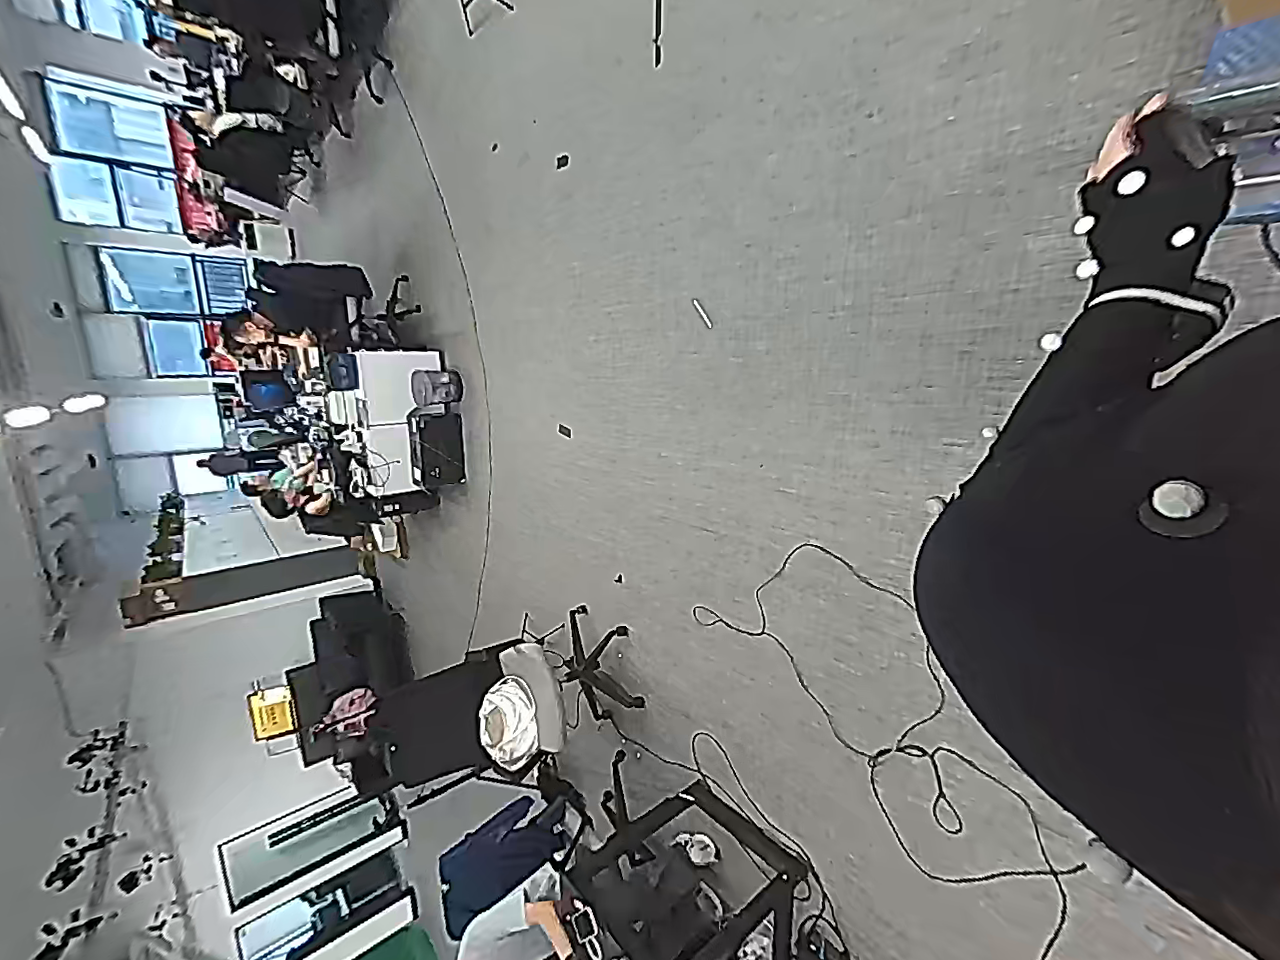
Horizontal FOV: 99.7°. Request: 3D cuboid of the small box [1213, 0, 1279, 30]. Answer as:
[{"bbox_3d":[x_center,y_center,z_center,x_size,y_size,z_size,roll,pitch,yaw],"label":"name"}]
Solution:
[{"bbox_3d":[0.932,-0.761,0.739,0.179,0.176,0.168,25,116,44],"label":"small box"}]
